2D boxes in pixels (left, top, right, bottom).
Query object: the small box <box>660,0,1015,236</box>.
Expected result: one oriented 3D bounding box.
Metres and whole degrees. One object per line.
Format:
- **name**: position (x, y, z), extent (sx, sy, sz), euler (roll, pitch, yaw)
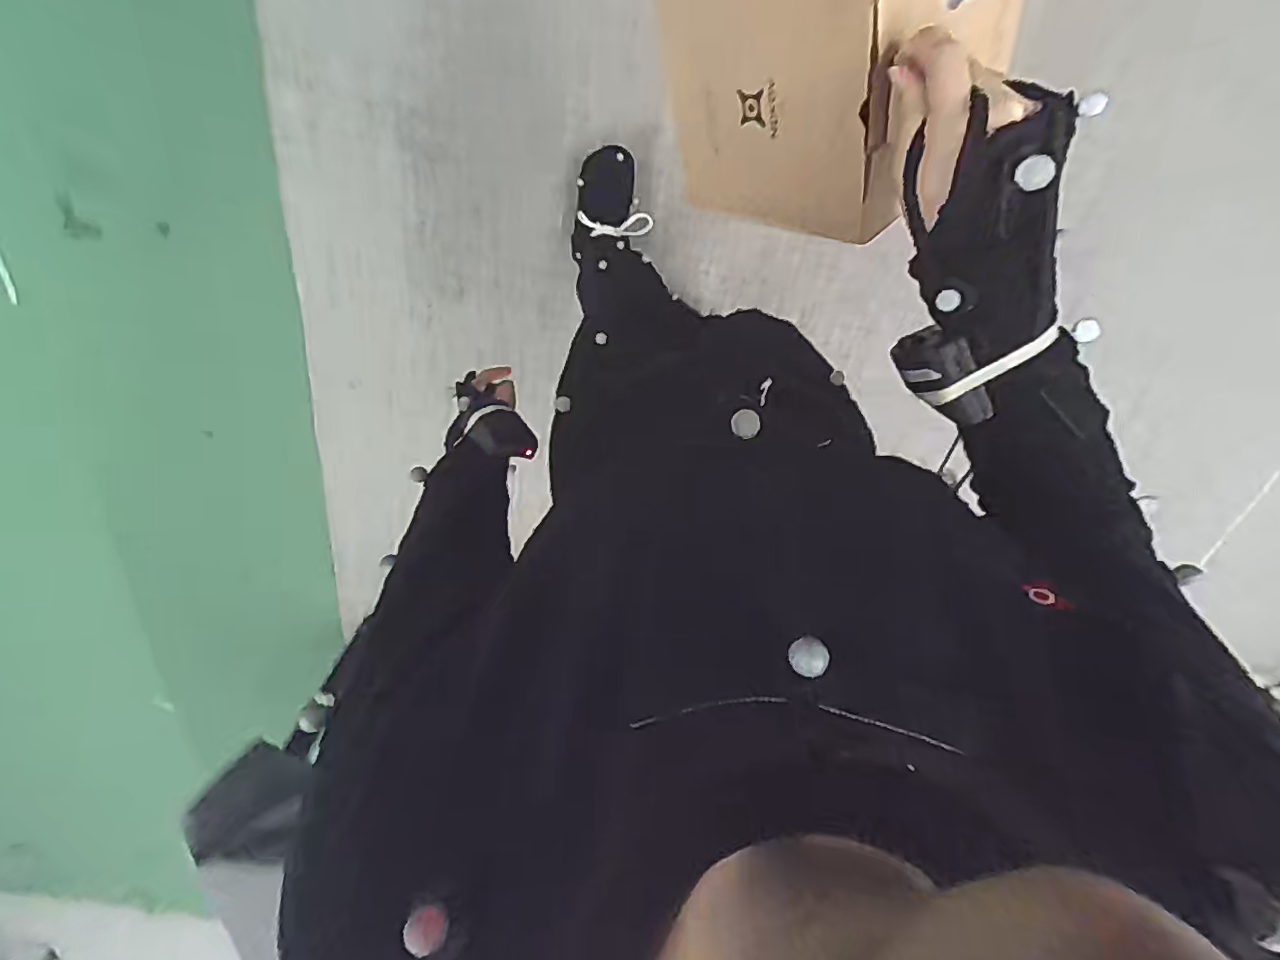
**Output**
- **small box**: position (0.143, -0.307, 0.388), extent (0.176, 0.179, 0.168), euler (-40, 139, -17)
